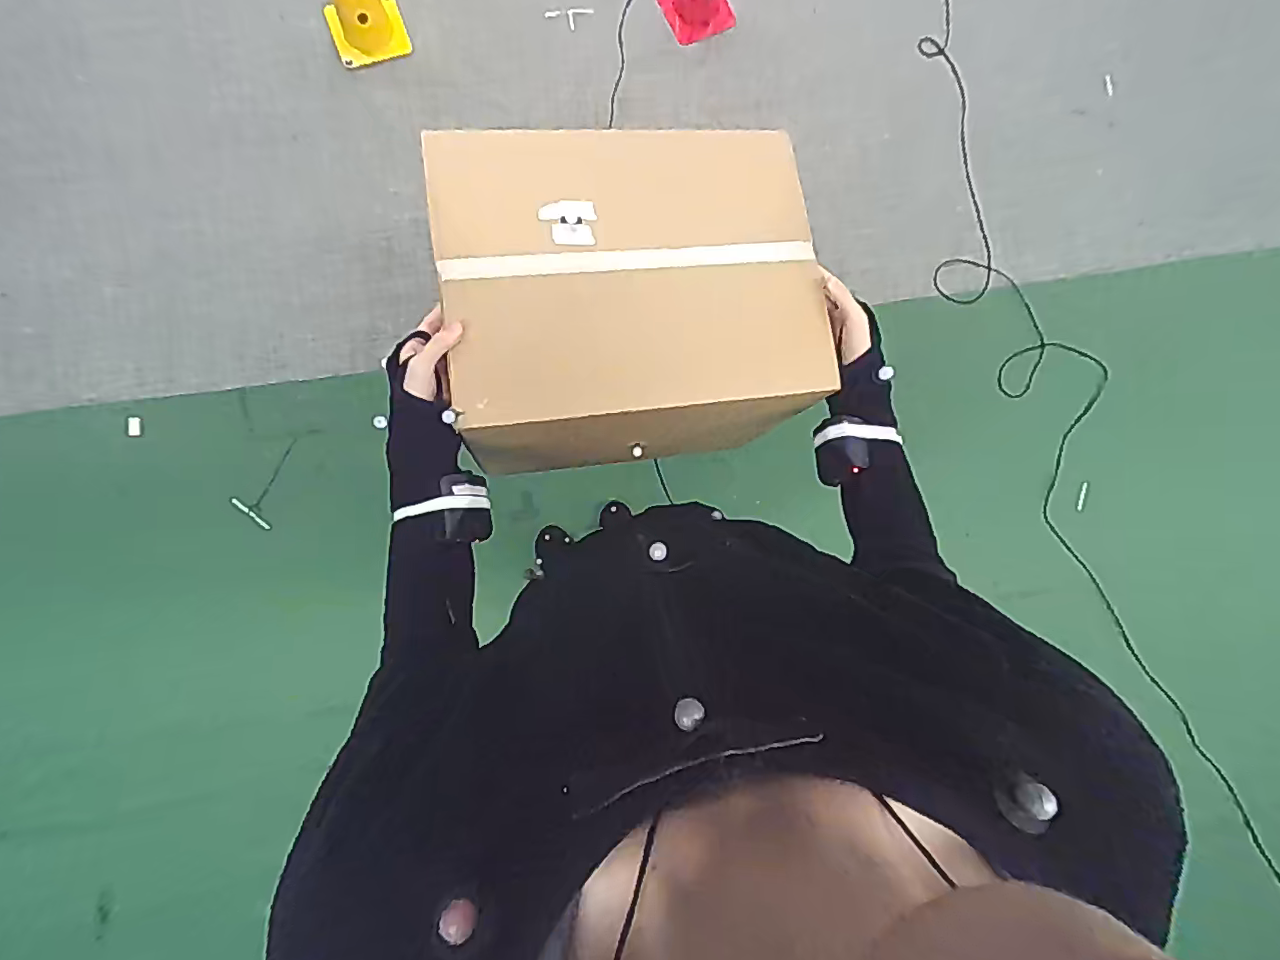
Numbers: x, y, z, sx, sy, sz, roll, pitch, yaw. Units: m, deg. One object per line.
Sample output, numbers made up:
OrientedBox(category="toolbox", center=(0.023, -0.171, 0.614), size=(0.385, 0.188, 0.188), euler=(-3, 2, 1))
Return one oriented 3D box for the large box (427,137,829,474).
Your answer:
OrientedBox(category="large box", center=(-0.028, -0.203, 0.723), size=(0.408, 0.320, 0.320), euler=(-8, 82, -11))
